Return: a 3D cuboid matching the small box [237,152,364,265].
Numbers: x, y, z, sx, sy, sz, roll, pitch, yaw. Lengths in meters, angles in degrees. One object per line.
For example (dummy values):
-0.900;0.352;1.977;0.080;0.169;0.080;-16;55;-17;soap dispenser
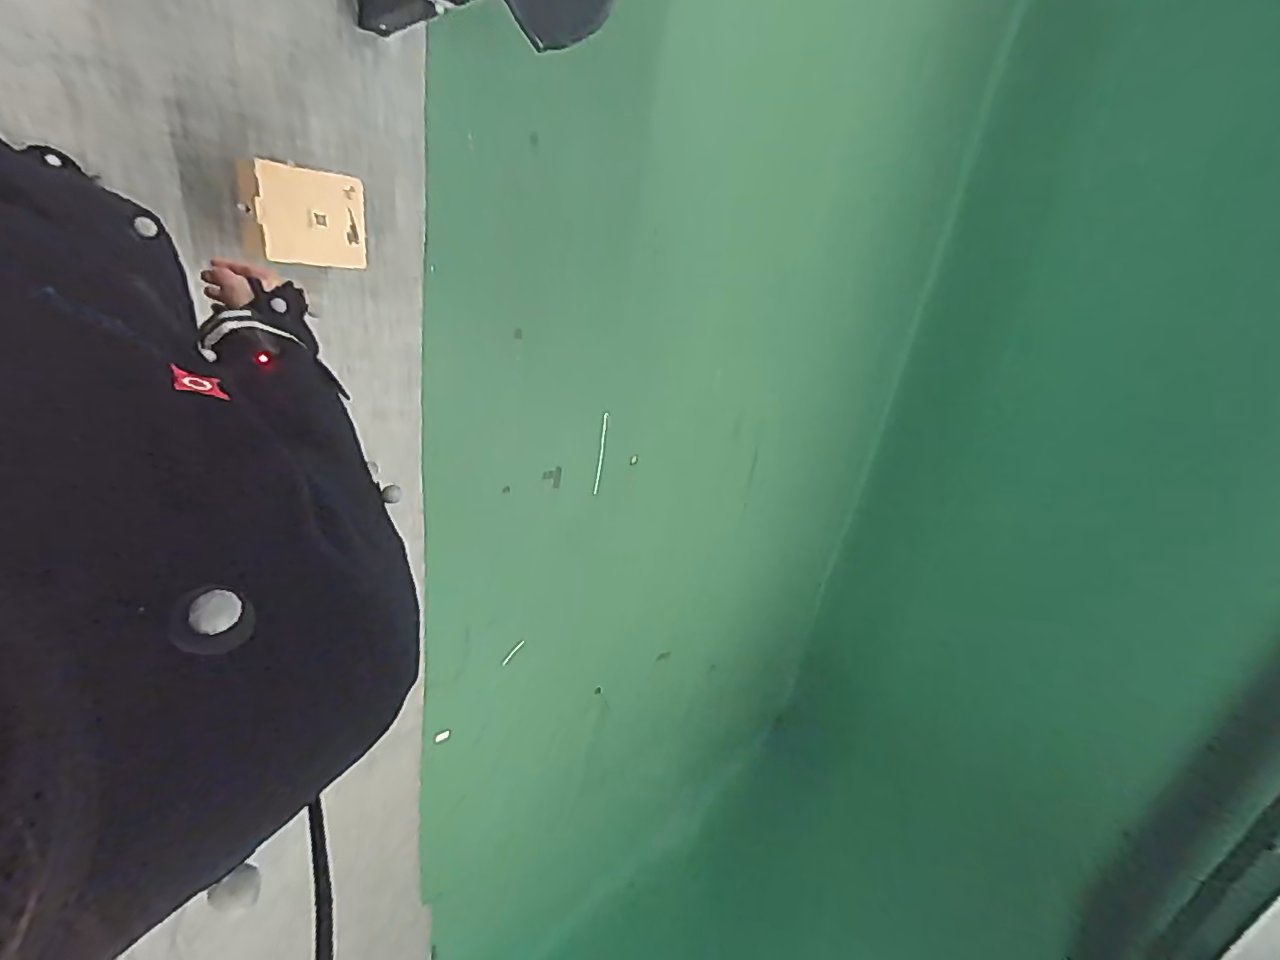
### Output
-0.659;-0.519;1.048;0.179;0.176;0.168;-13;120;-42;small box
